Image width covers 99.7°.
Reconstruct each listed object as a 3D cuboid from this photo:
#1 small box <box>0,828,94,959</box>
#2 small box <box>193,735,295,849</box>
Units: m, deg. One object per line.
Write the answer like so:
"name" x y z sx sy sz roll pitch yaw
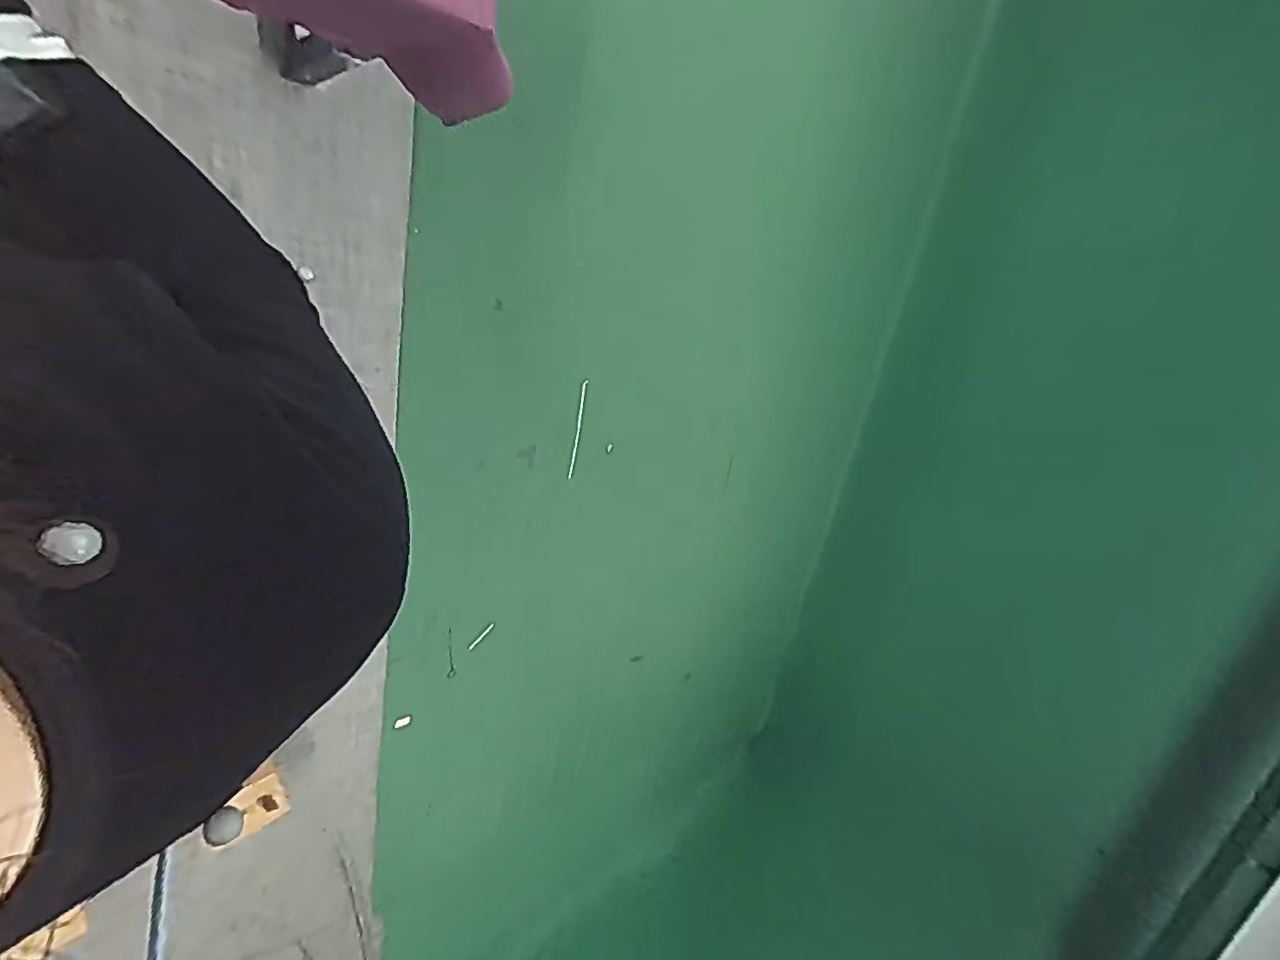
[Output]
"small box" -1.375 0.954 1.232 0.179 0.176 0.168 -7 115 -45
"small box" -1.087 0.845 1.484 0.179 0.176 0.168 -21 124 -38
